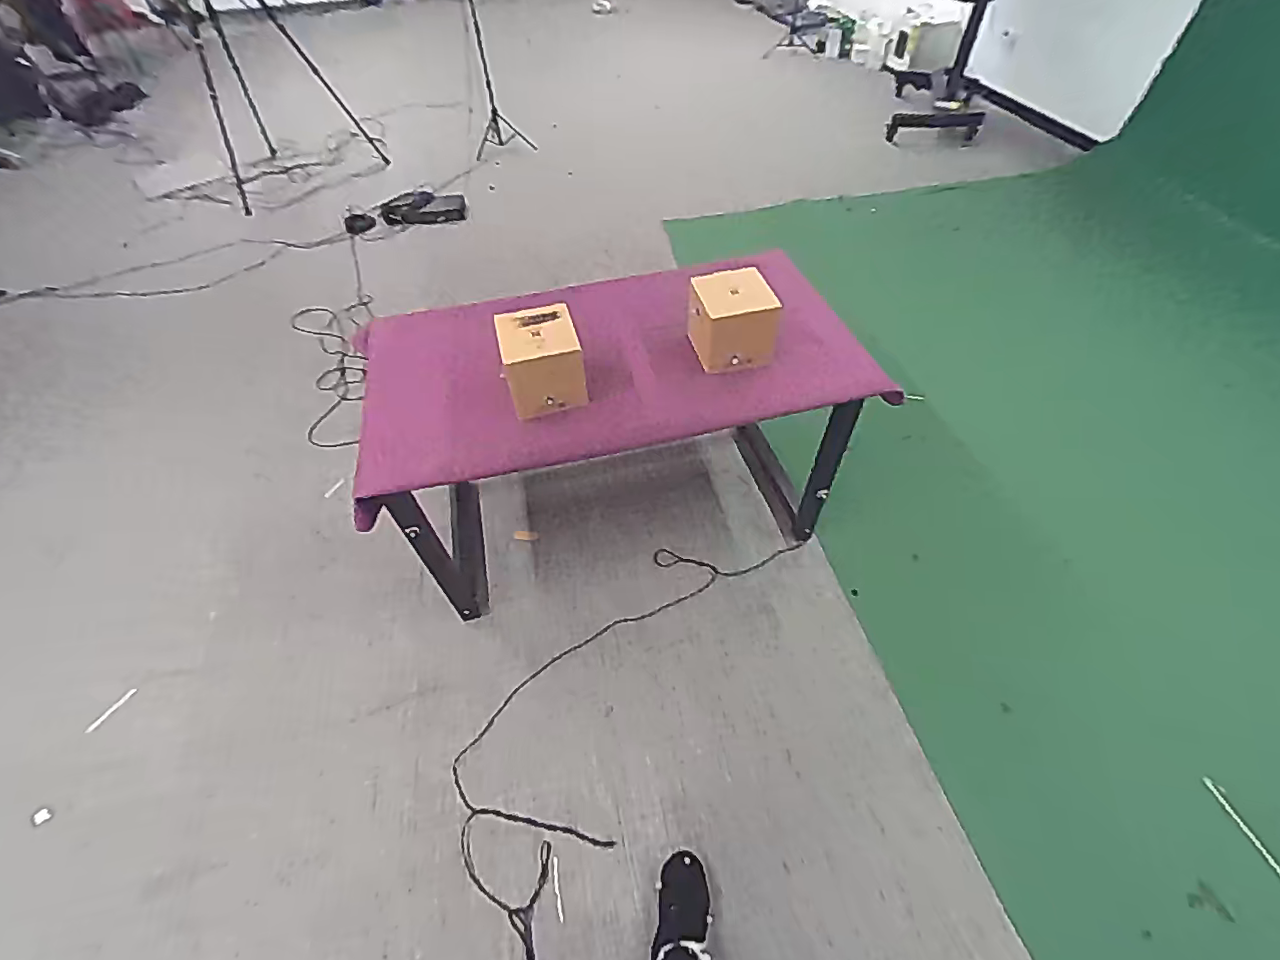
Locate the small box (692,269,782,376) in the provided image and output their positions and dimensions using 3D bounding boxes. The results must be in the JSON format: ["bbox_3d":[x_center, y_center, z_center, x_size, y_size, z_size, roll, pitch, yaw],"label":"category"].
[{"bbox_3d":[0.222,-0.377,1.295,0.168,0.176,0.179,-11,51,-4],"label":"small box"}]
